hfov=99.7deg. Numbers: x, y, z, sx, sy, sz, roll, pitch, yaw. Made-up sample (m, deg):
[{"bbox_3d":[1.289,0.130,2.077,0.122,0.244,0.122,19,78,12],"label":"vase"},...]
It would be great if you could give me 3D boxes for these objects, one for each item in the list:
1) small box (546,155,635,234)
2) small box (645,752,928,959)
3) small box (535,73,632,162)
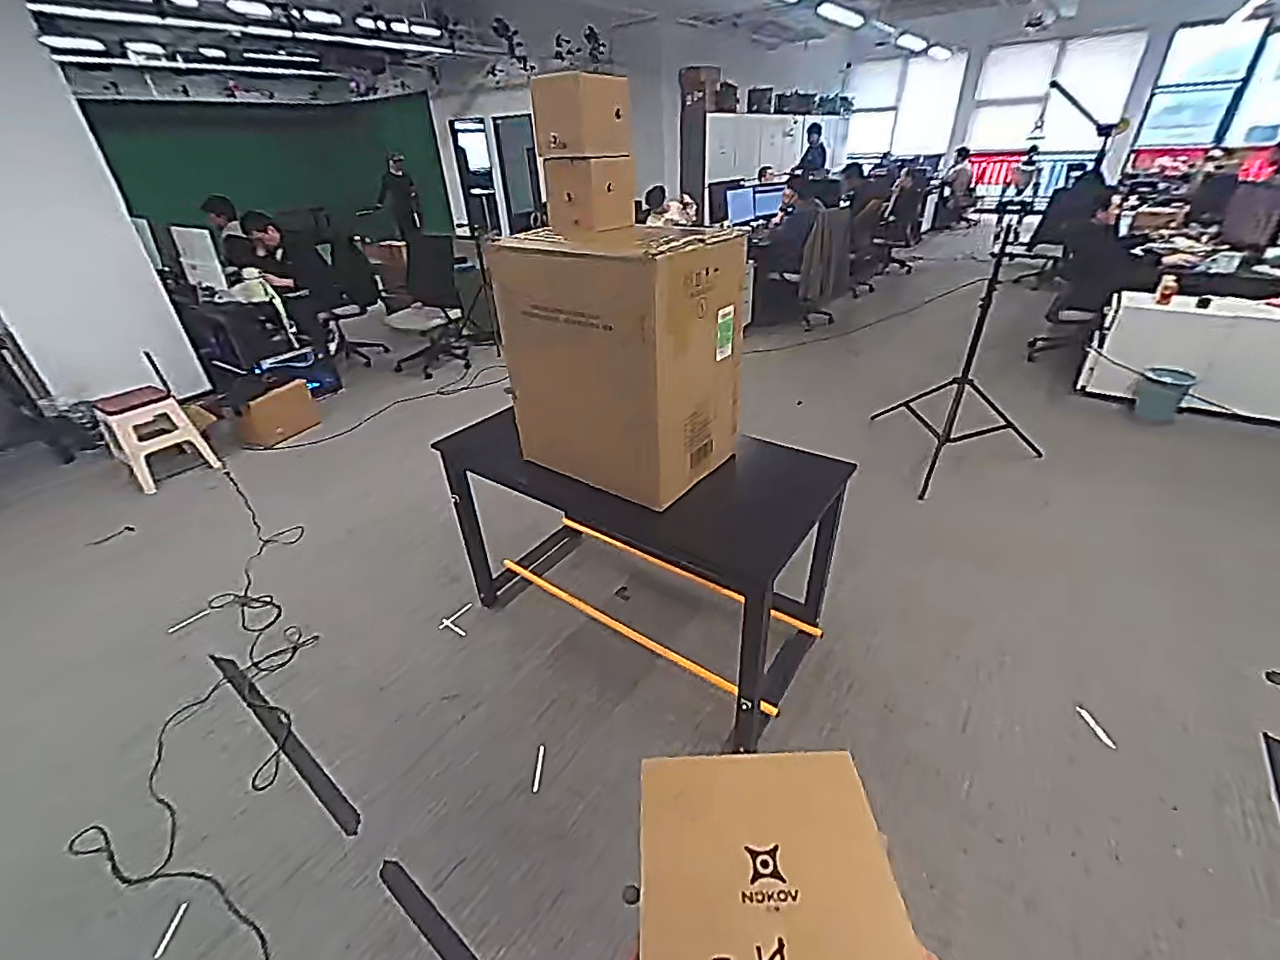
[{"bbox_3d":[-0.123,-0.757,1.432,0.168,0.176,0.179,21,39,31],"label":"small box"},{"bbox_3d":[0.090,0.328,0.390,0.168,0.176,0.179,-3,30,3],"label":"small box"},{"bbox_3d":[-0.134,-0.888,1.334,0.168,0.176,0.179,21,39,33],"label":"small box"}]
